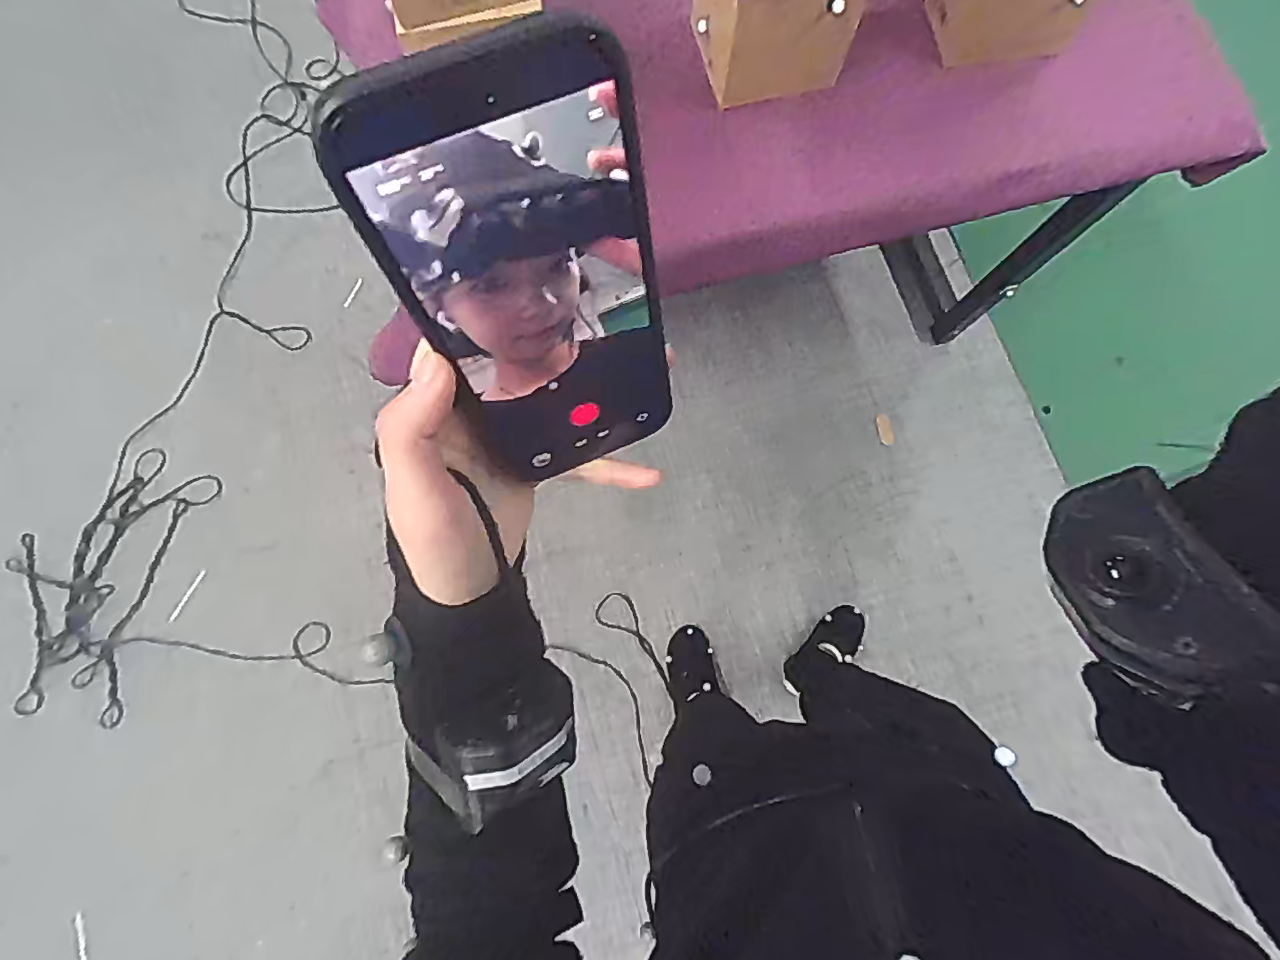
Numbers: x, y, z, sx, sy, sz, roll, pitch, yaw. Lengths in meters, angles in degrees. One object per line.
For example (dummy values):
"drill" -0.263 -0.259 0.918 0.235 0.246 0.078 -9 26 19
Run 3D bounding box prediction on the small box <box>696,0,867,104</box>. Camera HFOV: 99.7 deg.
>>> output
"small box" 0.182 -0.641 0.708 0.179 0.176 0.168 -12 78 -2

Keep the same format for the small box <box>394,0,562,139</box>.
"small box" -0.203 -0.577 0.698 0.168 0.176 0.179 -12 78 -2

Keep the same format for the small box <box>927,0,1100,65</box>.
"small box" 0.517 -0.700 0.720 0.179 0.176 0.168 -6 78 -1

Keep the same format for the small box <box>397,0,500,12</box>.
"small box" -0.206 -0.618 0.539 0.168 0.176 0.179 -17 79 -4
